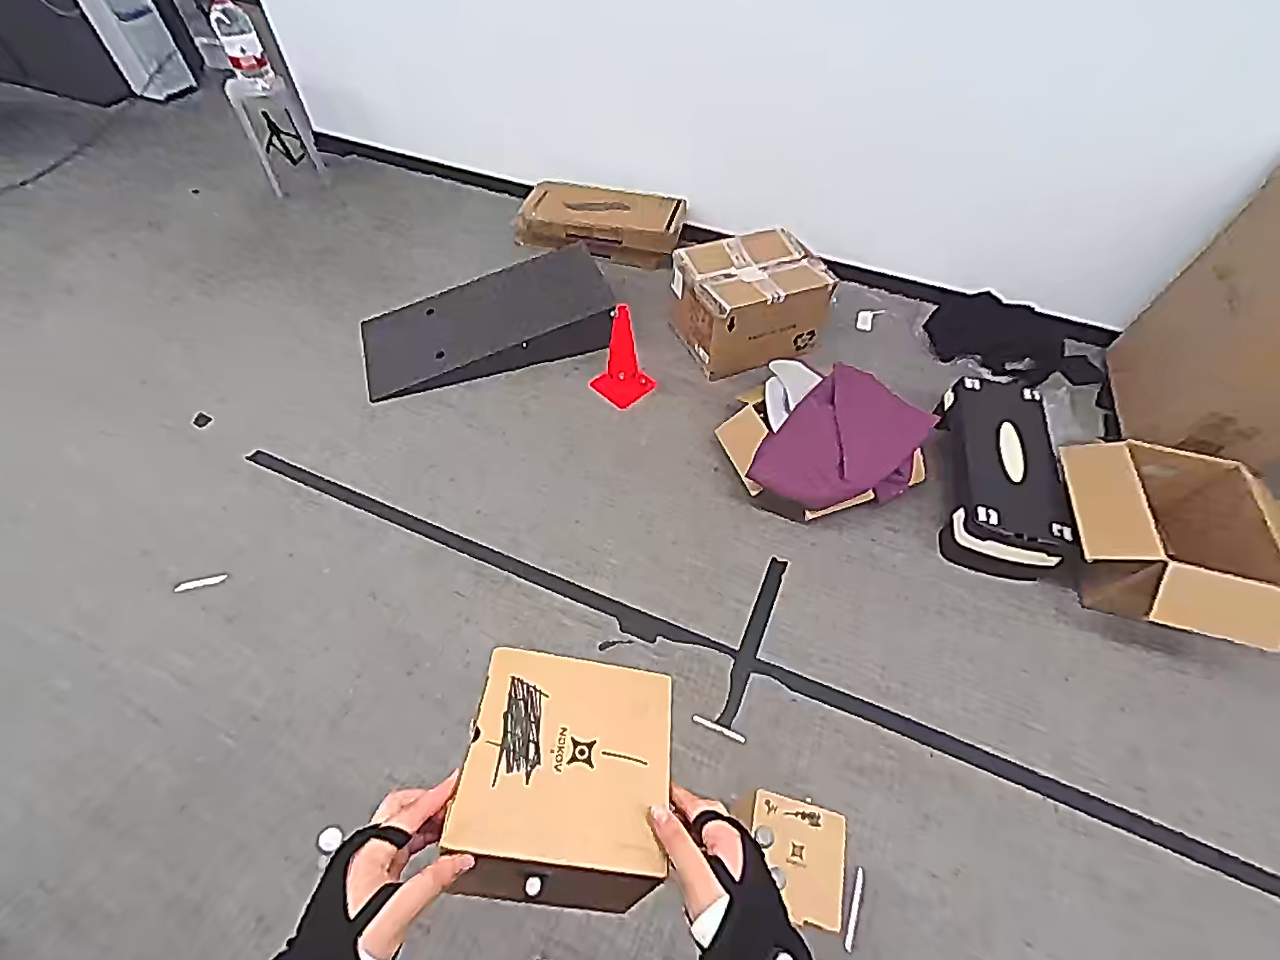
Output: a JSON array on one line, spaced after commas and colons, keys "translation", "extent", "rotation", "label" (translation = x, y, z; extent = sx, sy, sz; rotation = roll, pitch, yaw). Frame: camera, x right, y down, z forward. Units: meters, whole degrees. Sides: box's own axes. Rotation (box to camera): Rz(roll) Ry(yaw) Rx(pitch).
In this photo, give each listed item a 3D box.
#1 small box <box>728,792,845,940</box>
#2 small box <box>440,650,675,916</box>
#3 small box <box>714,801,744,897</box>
[{"translation": [0.267, 0.712, 1.007], "extent": [0.168, 0.176, 0.179], "rotation": [14, 55, 8], "label": "small box"}, {"translation": [-0.074, 0.288, 0.509], "extent": [0.179, 0.176, 0.168], "rotation": [13, 43, -7], "label": "small box"}, {"translation": [0.268, 0.804, 1.143], "extent": [0.179, 0.176, 0.168], "rotation": [15, 54, 9], "label": "small box"}]
